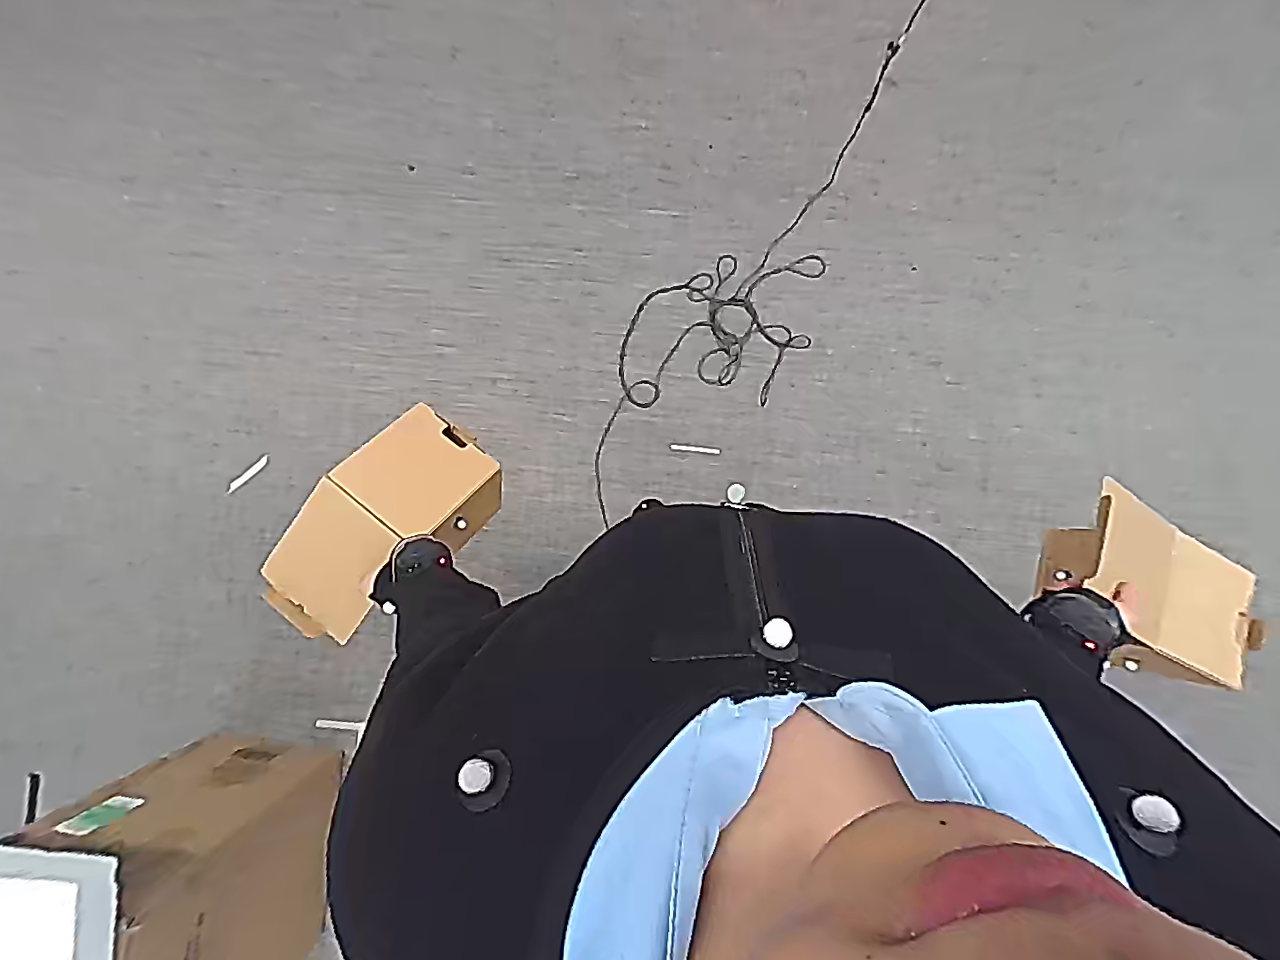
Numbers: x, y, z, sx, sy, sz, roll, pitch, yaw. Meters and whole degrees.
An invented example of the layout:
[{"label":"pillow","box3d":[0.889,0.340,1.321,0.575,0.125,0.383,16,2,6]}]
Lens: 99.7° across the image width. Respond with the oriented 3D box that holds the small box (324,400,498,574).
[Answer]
[{"label":"small box","box3d":[-0.336,0.019,0.837,0.168,0.176,0.179,38,62,5]}]
